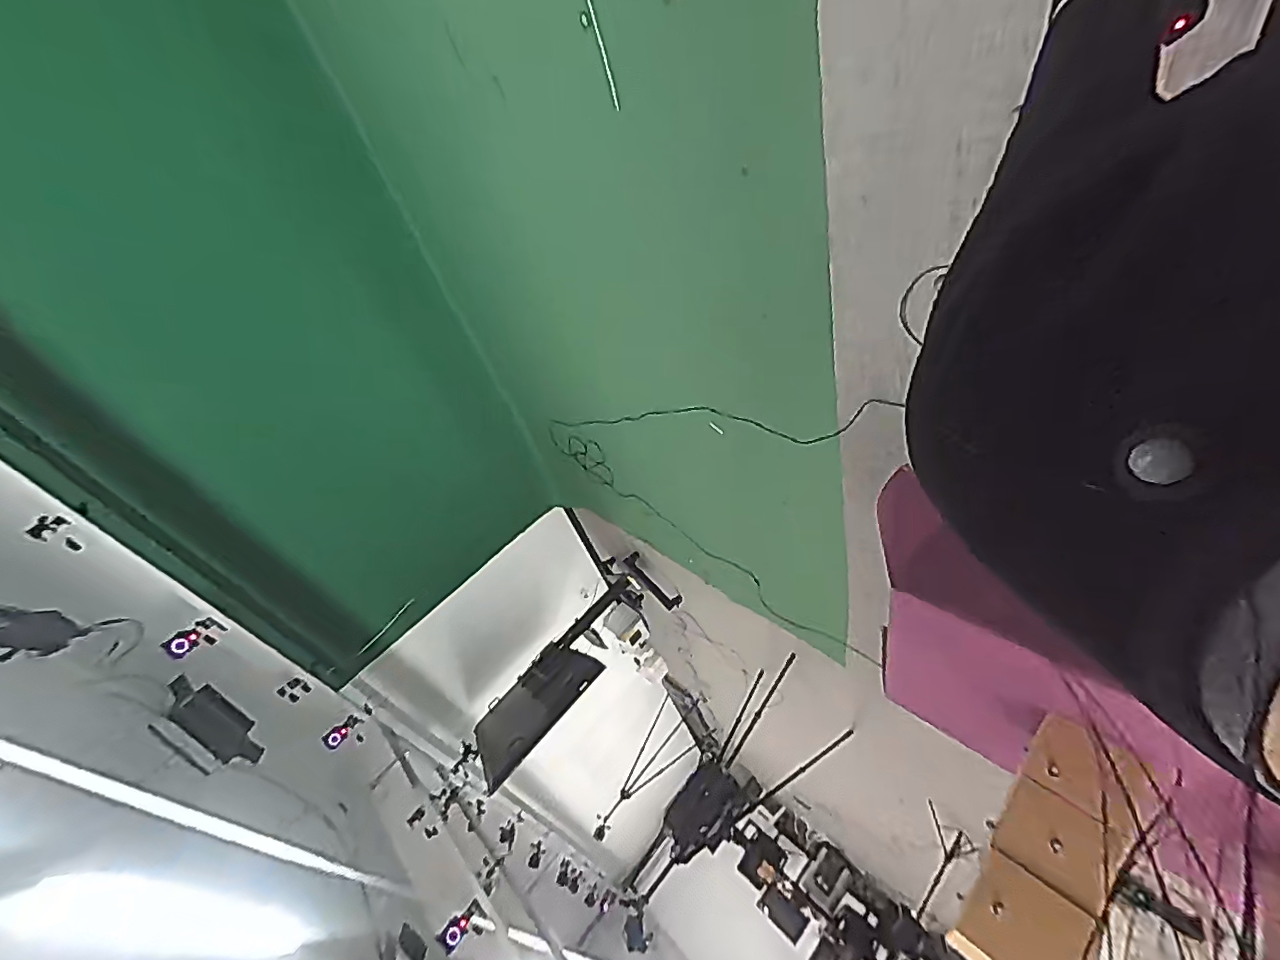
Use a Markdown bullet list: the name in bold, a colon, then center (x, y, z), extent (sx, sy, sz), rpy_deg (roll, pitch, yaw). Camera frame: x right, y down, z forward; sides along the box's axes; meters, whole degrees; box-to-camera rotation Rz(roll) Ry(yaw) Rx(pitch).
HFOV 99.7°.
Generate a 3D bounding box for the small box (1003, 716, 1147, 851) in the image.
- **small box**: center (0.919, 0.633, 1.150), extent (0.179, 0.176, 0.168), rpy_deg (28, 151, 39)

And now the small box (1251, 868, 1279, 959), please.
- **small box**: center (1.188, 0.770, 0.898), extent (0.168, 0.176, 0.179), rpy_deg (28, 151, 40)

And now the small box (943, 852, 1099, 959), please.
- **small box**: center (0.702, 0.834, 1.008), extent (0.179, 0.176, 0.168), rpy_deg (27, 151, 39)
